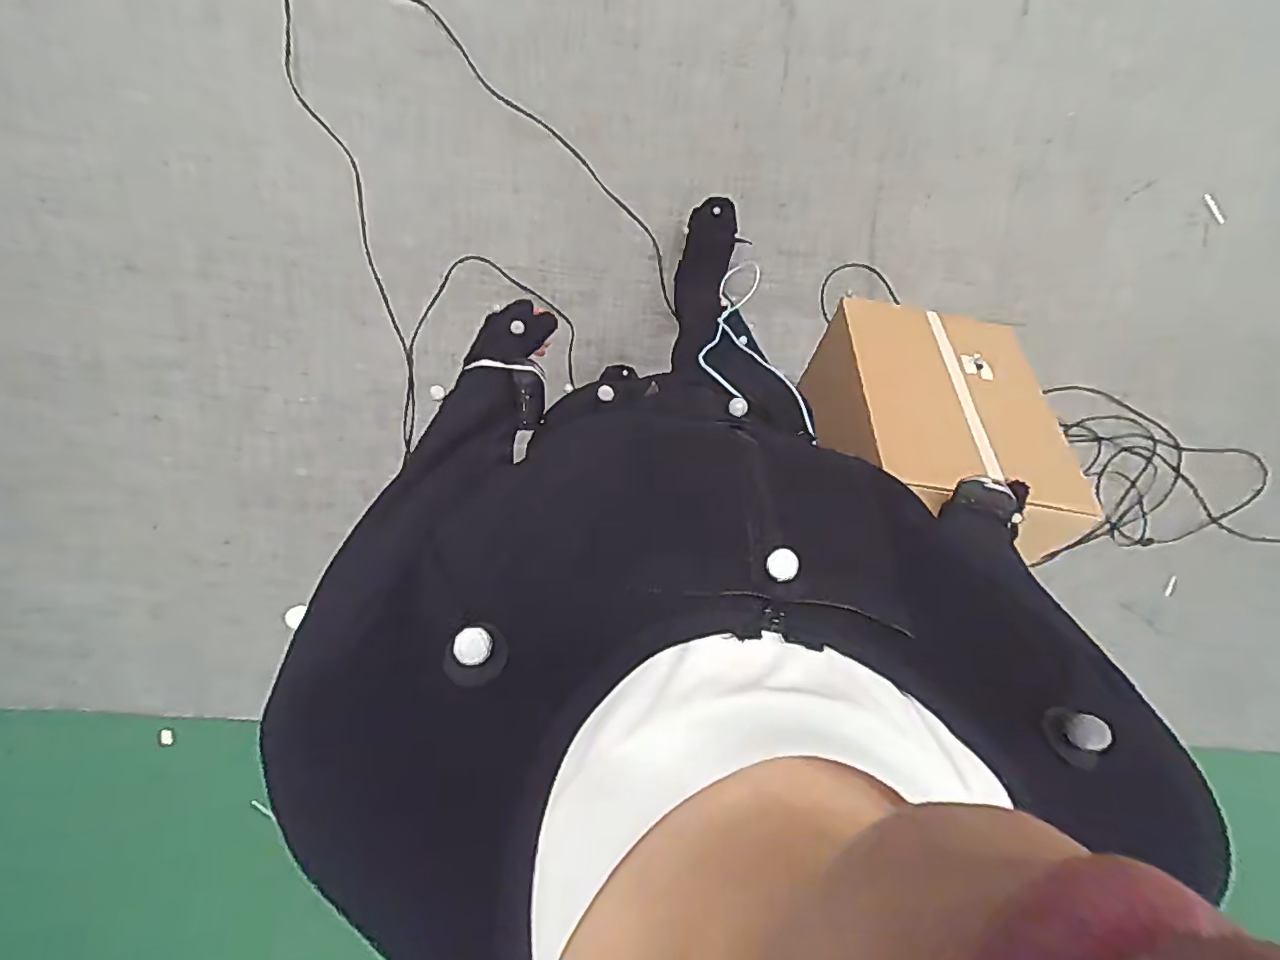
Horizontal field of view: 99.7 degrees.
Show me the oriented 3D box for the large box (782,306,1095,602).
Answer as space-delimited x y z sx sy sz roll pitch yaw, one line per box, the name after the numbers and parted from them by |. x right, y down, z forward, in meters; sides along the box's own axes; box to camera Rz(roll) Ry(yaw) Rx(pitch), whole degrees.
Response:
0.464 -0.040 0.960 0.320 0.408 0.320 10 142 -5 | large box
